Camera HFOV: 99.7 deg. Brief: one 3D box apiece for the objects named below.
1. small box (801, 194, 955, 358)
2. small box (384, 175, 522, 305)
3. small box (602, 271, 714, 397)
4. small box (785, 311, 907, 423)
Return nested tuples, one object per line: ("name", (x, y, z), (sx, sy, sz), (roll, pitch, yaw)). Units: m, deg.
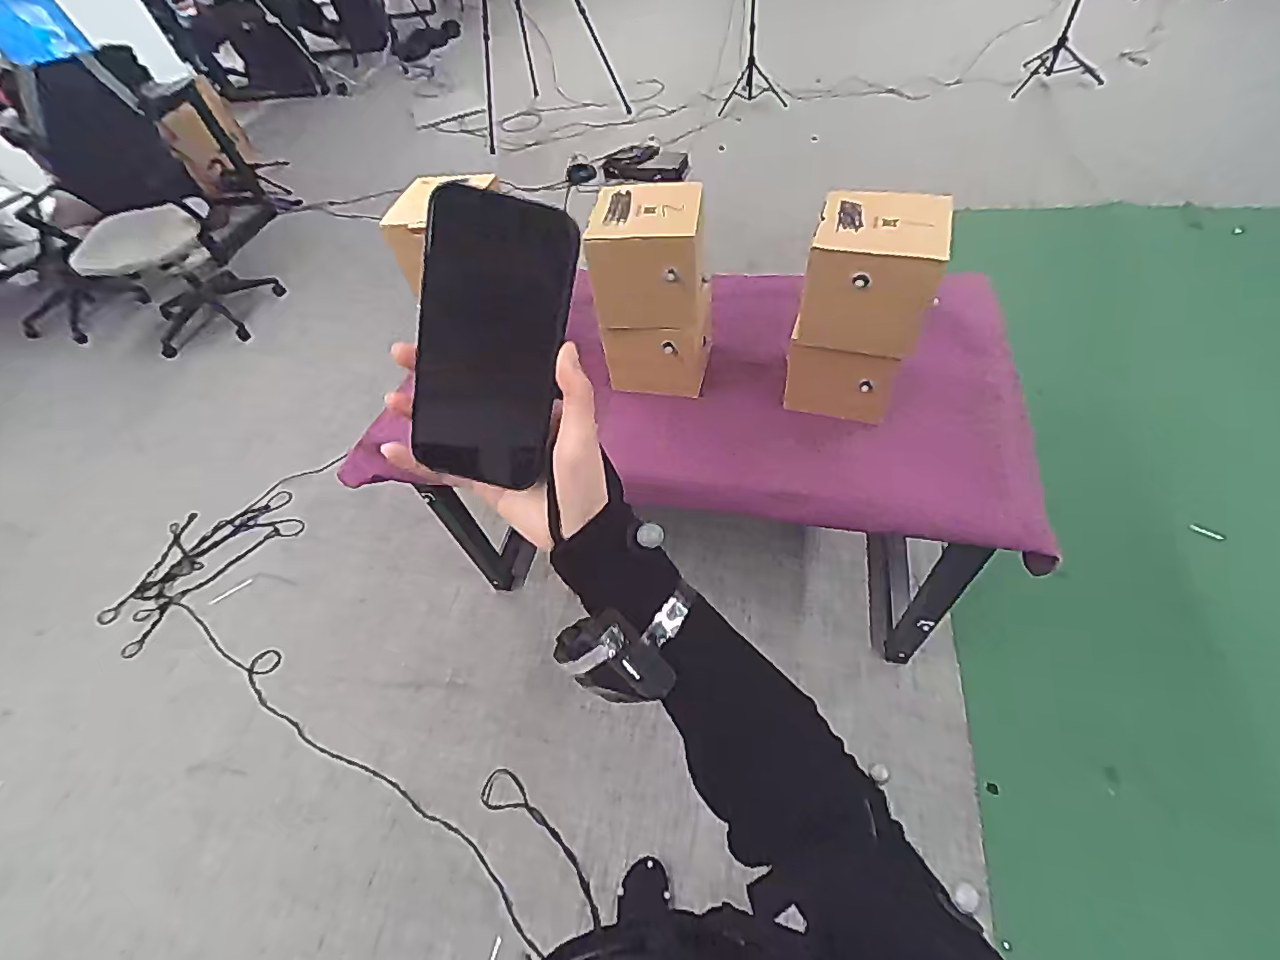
("small box", (0.351, -0.306, 0.818), (0.179, 0.176, 0.168), (13, 56, 17))
("small box", (-0.343, -0.453, 1.035), (0.168, 0.176, 0.179), (5, 55, 11))
("small box", (0.044, -0.280, 1.050), (0.179, 0.176, 0.168), (8, 55, 15))
("small box", (0.367, -0.222, 0.958), (0.179, 0.176, 0.168), (13, 56, 19))
